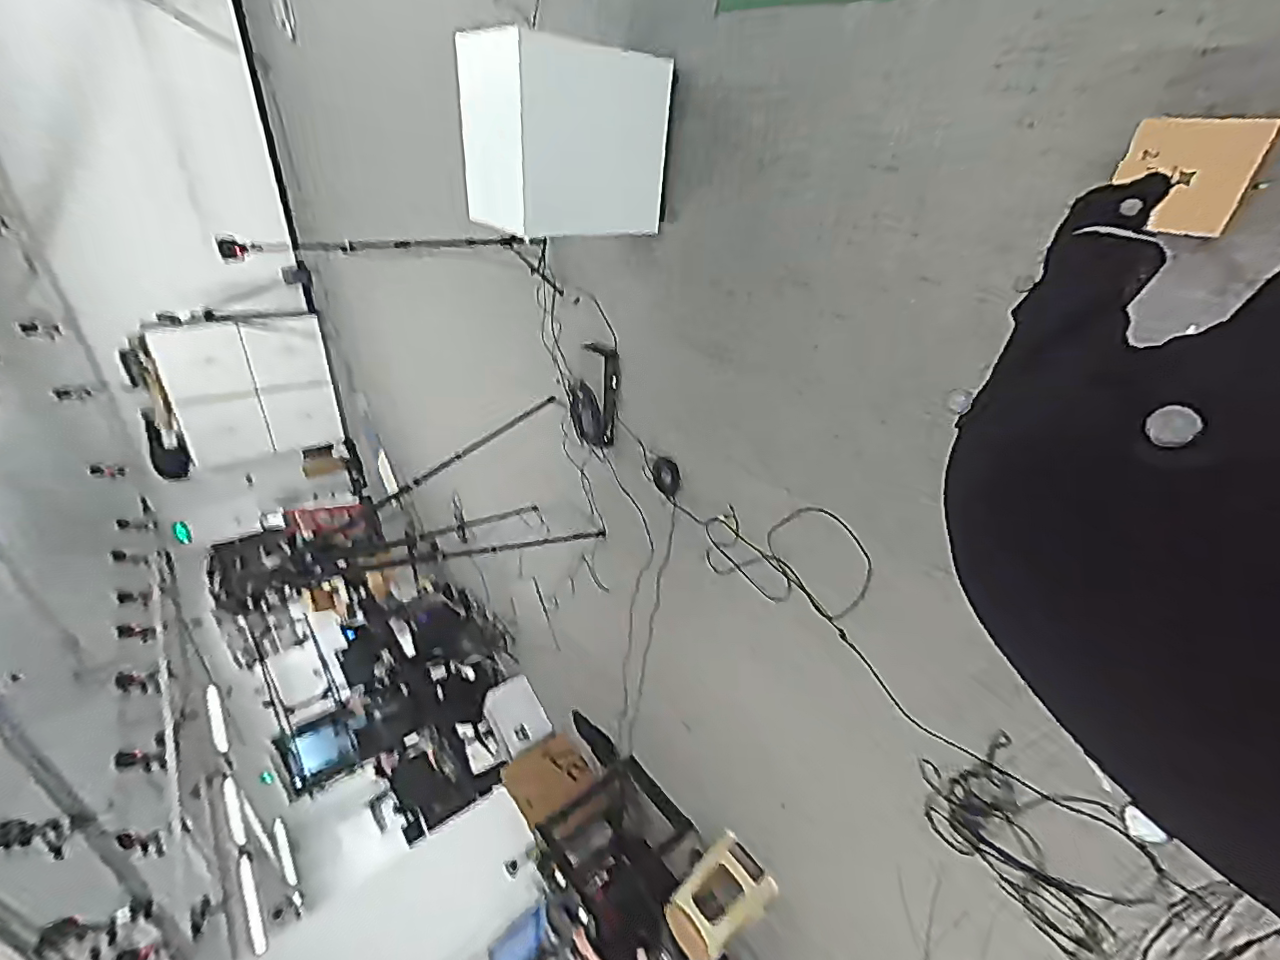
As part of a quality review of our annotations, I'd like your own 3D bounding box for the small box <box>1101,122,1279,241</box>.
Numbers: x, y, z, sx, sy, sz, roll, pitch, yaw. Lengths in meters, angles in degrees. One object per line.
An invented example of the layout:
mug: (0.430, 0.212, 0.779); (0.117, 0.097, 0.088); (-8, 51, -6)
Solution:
small box: (0.963, -0.516, 0.938); (0.179, 0.176, 0.168); (34, 130, 41)
